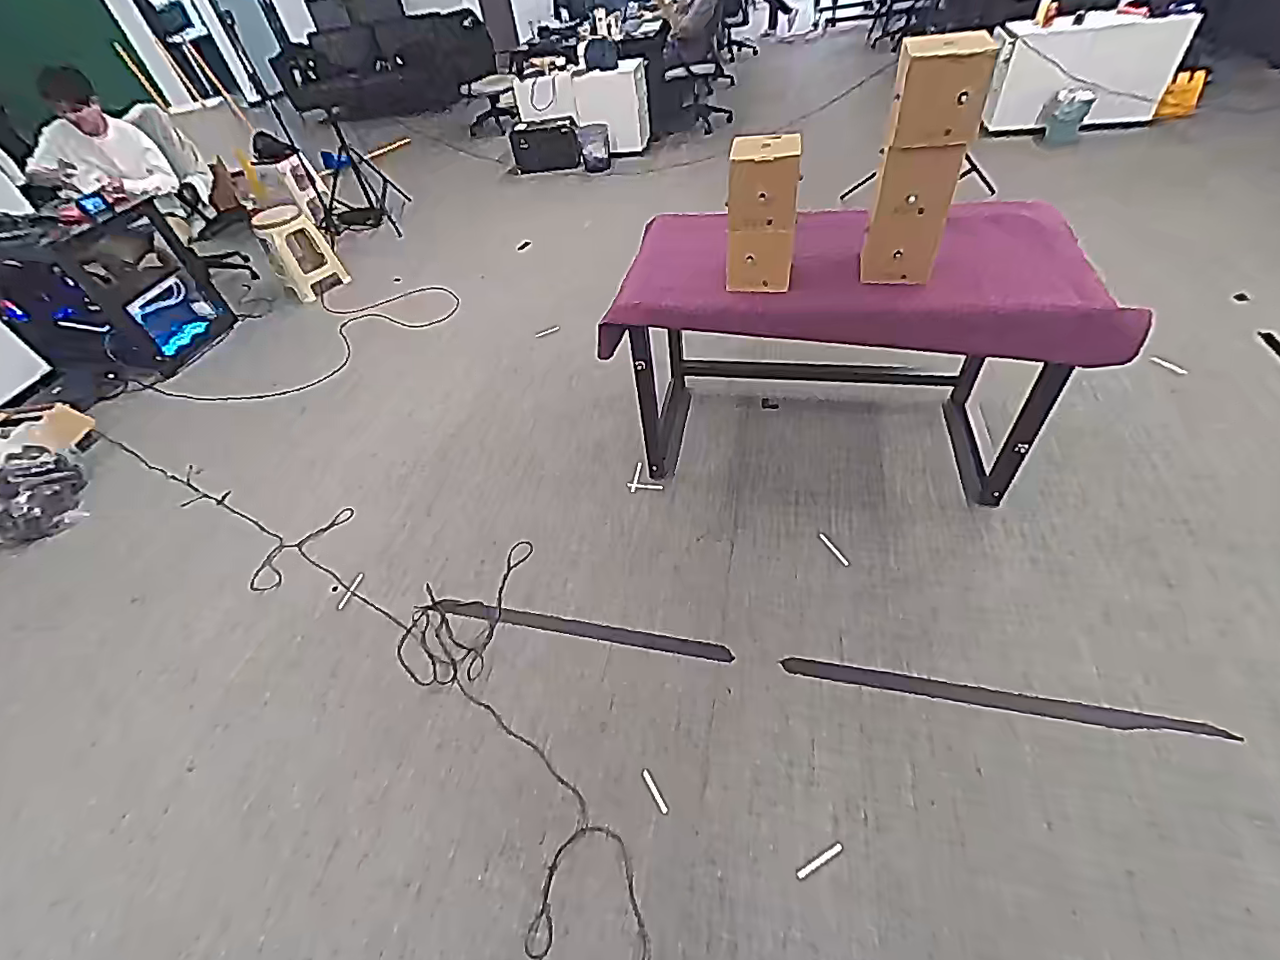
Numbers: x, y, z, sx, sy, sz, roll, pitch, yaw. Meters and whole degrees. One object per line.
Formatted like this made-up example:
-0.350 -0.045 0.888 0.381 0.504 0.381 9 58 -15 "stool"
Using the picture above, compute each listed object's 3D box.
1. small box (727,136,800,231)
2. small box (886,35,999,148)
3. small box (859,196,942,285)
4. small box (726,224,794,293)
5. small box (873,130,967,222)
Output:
0.311 -0.744 1.365 0.168 0.176 0.179 4 48 12 "small box"
0.645 -0.839 1.177 0.168 0.176 0.179 5 48 12 "small box"
0.682 -0.632 1.427 0.168 0.176 0.179 8 49 15 "small box"
0.330 -0.626 1.478 0.168 0.176 0.179 6 47 14 "small box"
0.667 -0.745 1.309 0.168 0.176 0.179 7 49 15 "small box"
